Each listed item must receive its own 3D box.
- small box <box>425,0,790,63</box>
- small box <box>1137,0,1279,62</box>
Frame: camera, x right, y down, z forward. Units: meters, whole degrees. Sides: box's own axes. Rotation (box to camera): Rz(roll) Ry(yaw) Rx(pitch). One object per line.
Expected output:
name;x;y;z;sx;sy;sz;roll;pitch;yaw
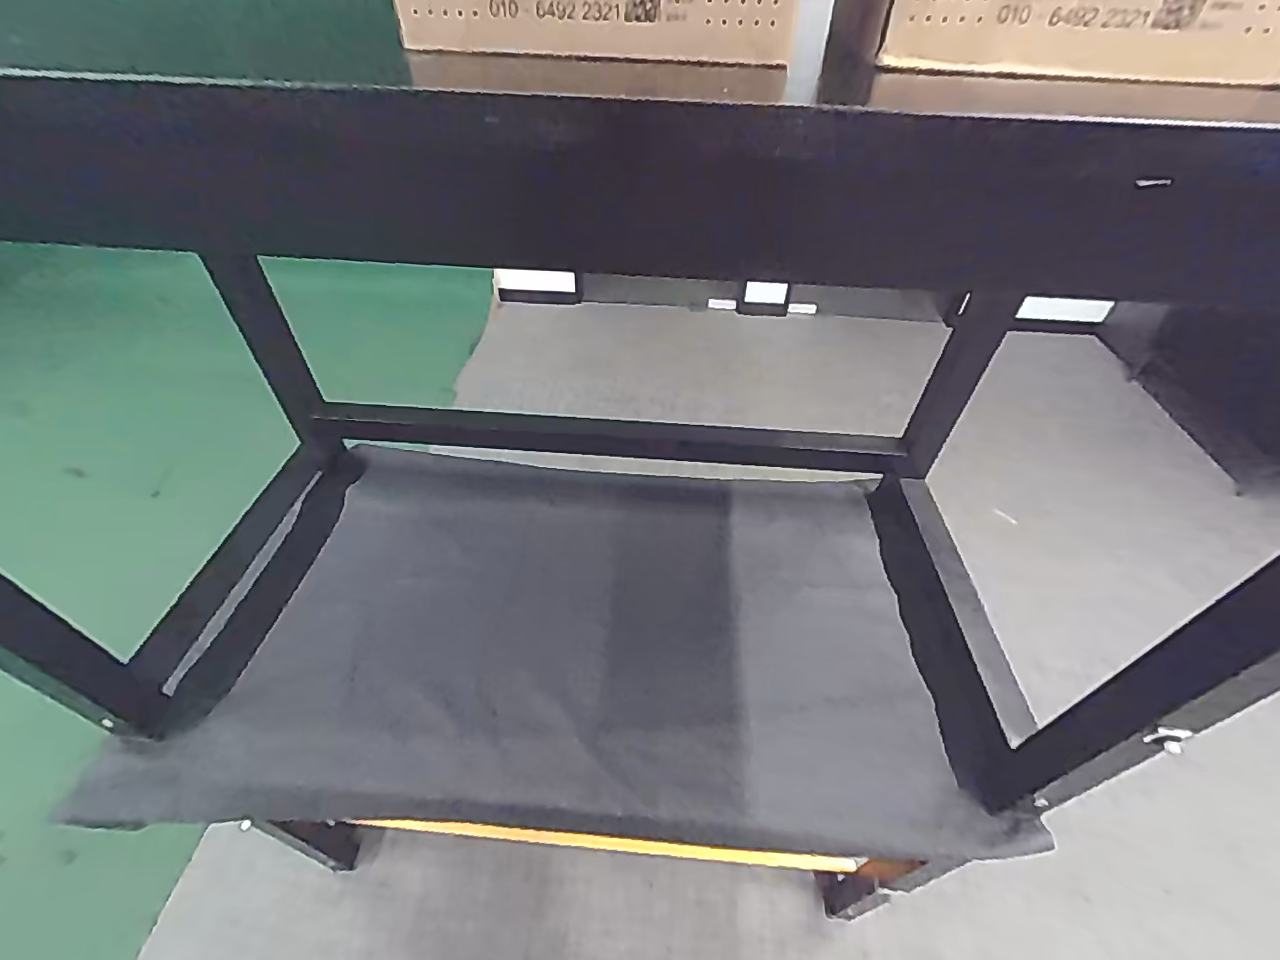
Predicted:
small box;-0.007;-0.305;0.238;0.168;0.176;0.179;6;44;4
small box;0.373;-0.272;0.216;0.168;0.176;0.179;6;43;5
